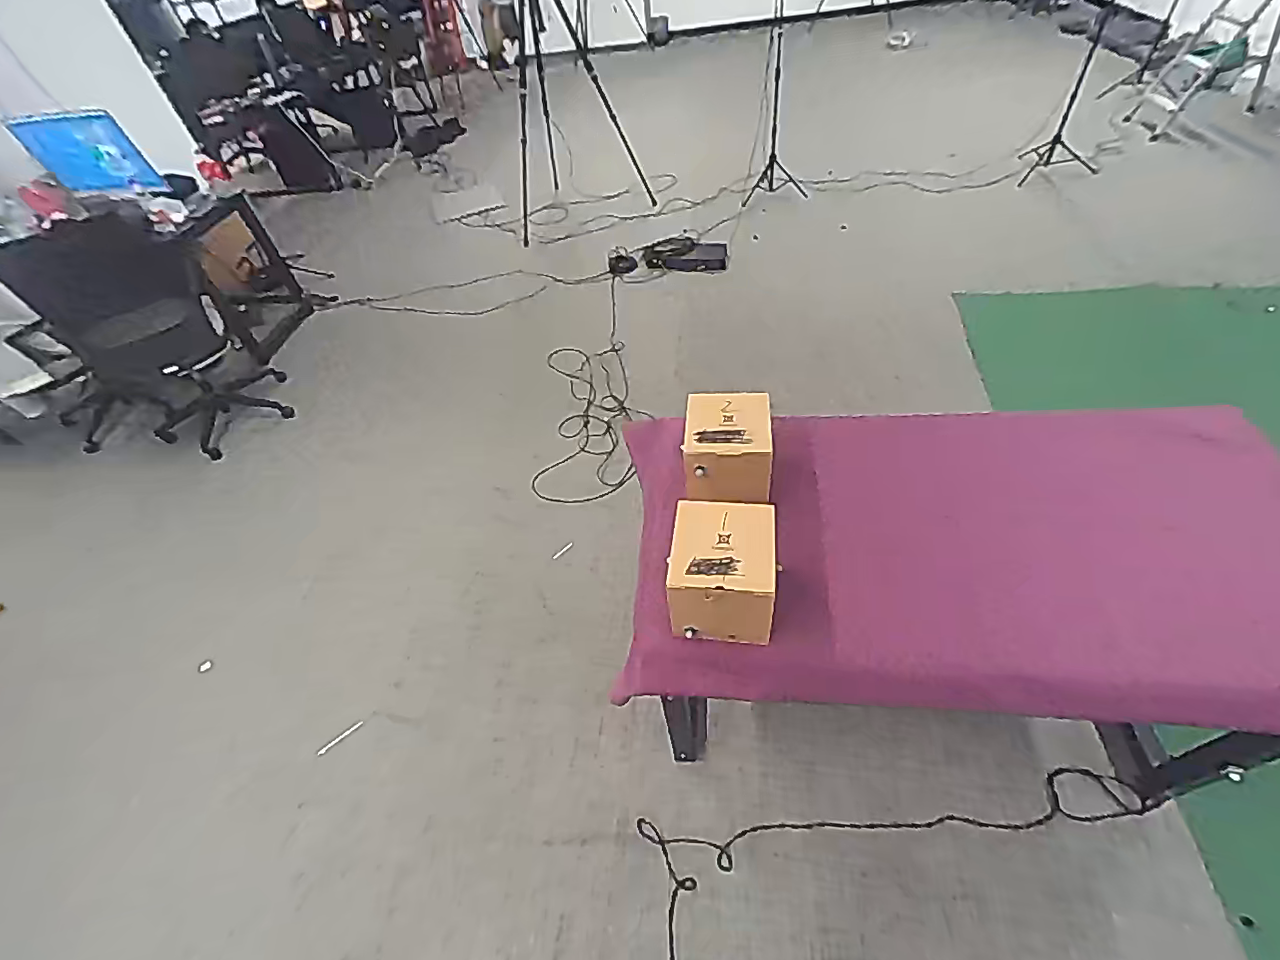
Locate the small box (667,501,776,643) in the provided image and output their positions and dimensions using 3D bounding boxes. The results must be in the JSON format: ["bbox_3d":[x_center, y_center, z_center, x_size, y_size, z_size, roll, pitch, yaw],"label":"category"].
[{"bbox_3d":[0.144,0.159,0.923,0.168,0.176,0.179,3,47,10],"label":"small box"}]
